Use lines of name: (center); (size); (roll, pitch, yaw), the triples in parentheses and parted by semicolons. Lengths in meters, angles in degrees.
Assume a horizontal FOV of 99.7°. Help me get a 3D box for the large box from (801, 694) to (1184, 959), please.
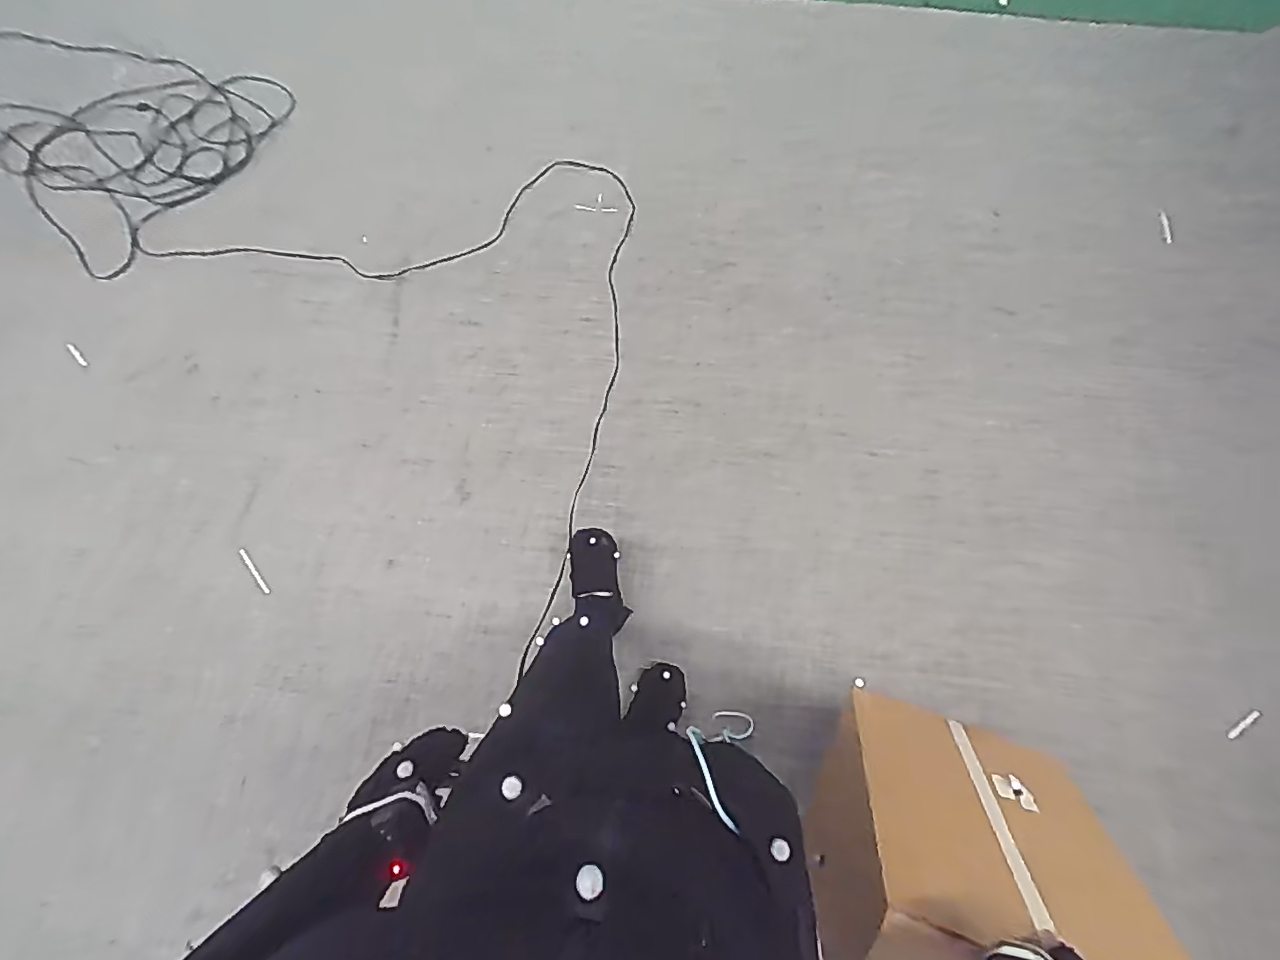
large box: (0.407, 0.572, 0.714); (0.320, 0.408, 0.320); (18, 104, 13)
